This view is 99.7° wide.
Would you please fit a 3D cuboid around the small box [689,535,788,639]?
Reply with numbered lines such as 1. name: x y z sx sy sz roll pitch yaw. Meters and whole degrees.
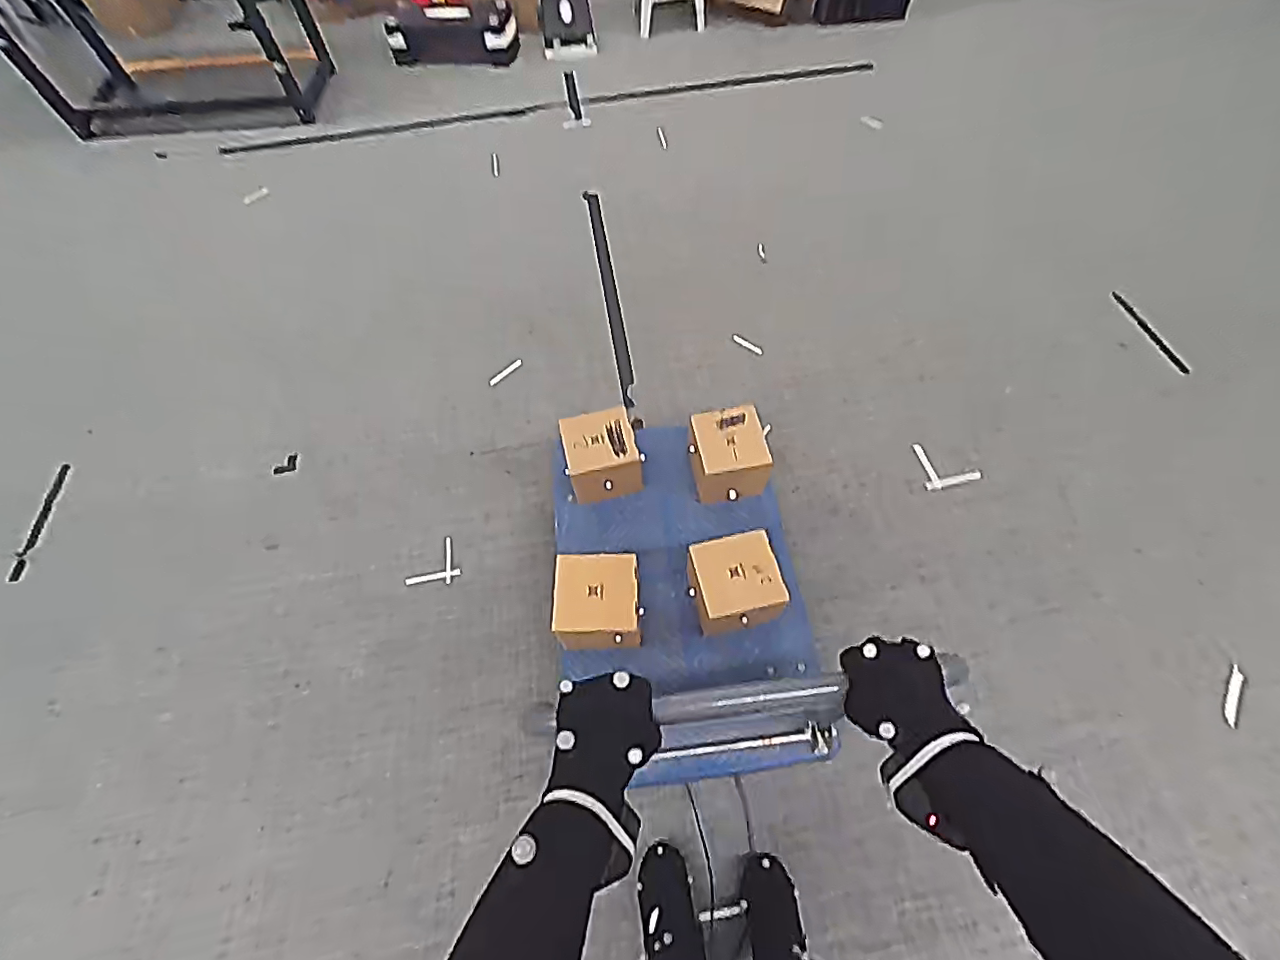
1. small box: 0.214 0.246 1.222 0.179 0.176 0.168 -12 61 -4

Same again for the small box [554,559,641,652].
1. small box: -0.088 0.286 1.214 0.179 0.176 0.168 -1 60 0

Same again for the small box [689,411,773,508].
1. small box: 0.225 -0.049 1.390 0.168 0.176 0.179 -10 61 -3
